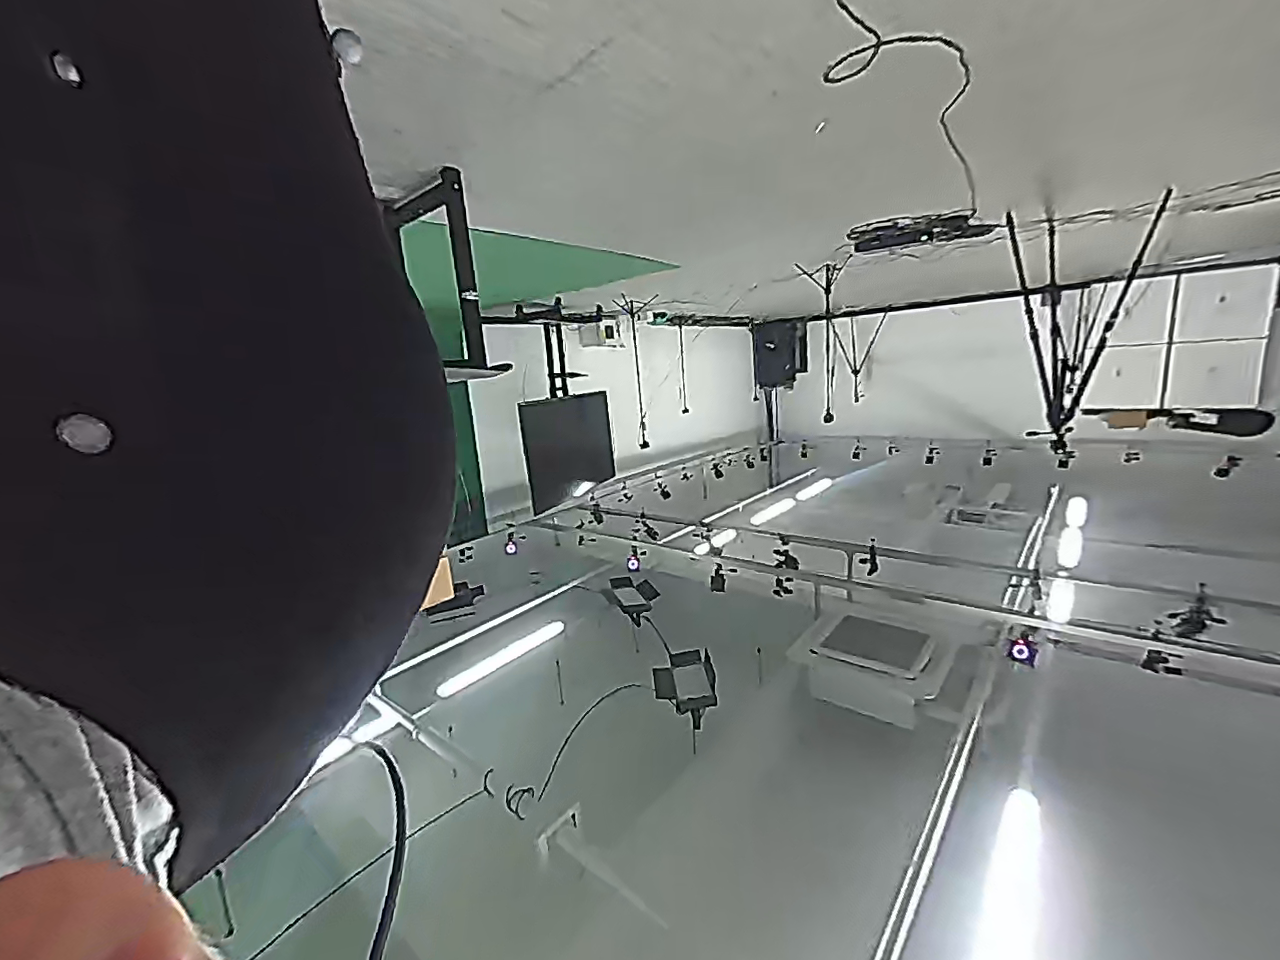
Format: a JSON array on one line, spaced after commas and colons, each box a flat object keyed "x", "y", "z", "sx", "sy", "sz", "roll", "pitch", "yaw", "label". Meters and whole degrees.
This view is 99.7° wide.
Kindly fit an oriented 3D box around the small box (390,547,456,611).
[{"x": -0.811, "y": 0.362, "z": 2.012, "sx": 0.179, "sy": 0.176, "sz": 0.168, "roll": 9, "pitch": -162, "yaw": 44, "label": "small box"}]
